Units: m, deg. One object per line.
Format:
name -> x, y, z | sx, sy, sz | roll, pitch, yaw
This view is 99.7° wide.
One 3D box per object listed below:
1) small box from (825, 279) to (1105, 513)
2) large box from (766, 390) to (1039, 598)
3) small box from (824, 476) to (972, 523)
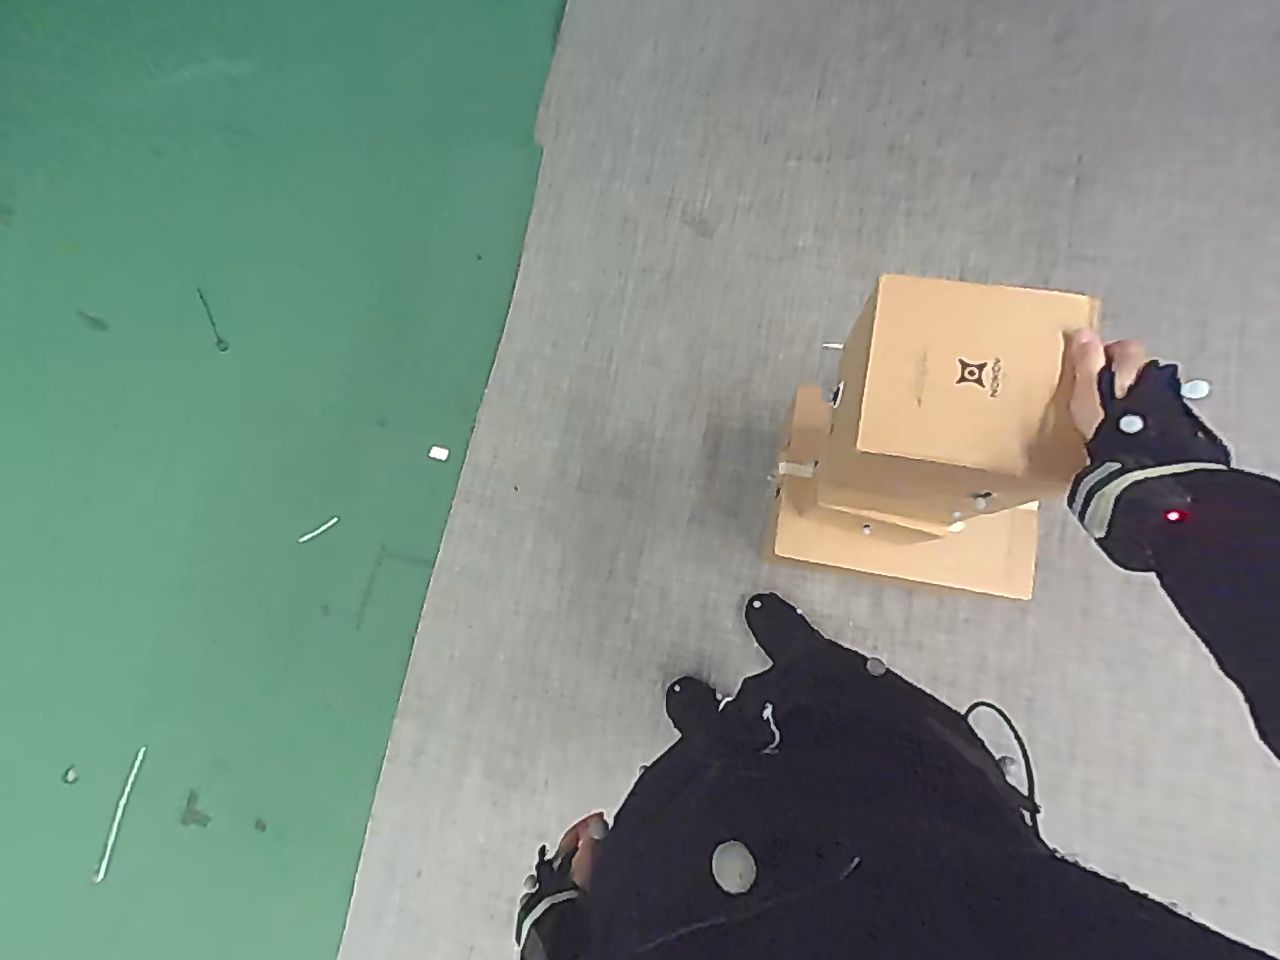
small box -> 0.293, -0.068, 0.523 | 0.179, 0.176, 0.168 | 10, 79, 11
large box -> 0.477, 0.039, 1.059 | 0.408, 0.320, 0.320 | 9, 82, 9
small box -> 0.340, -0.046, 0.679 | 0.179, 0.176, 0.168 | 10, 81, 11
